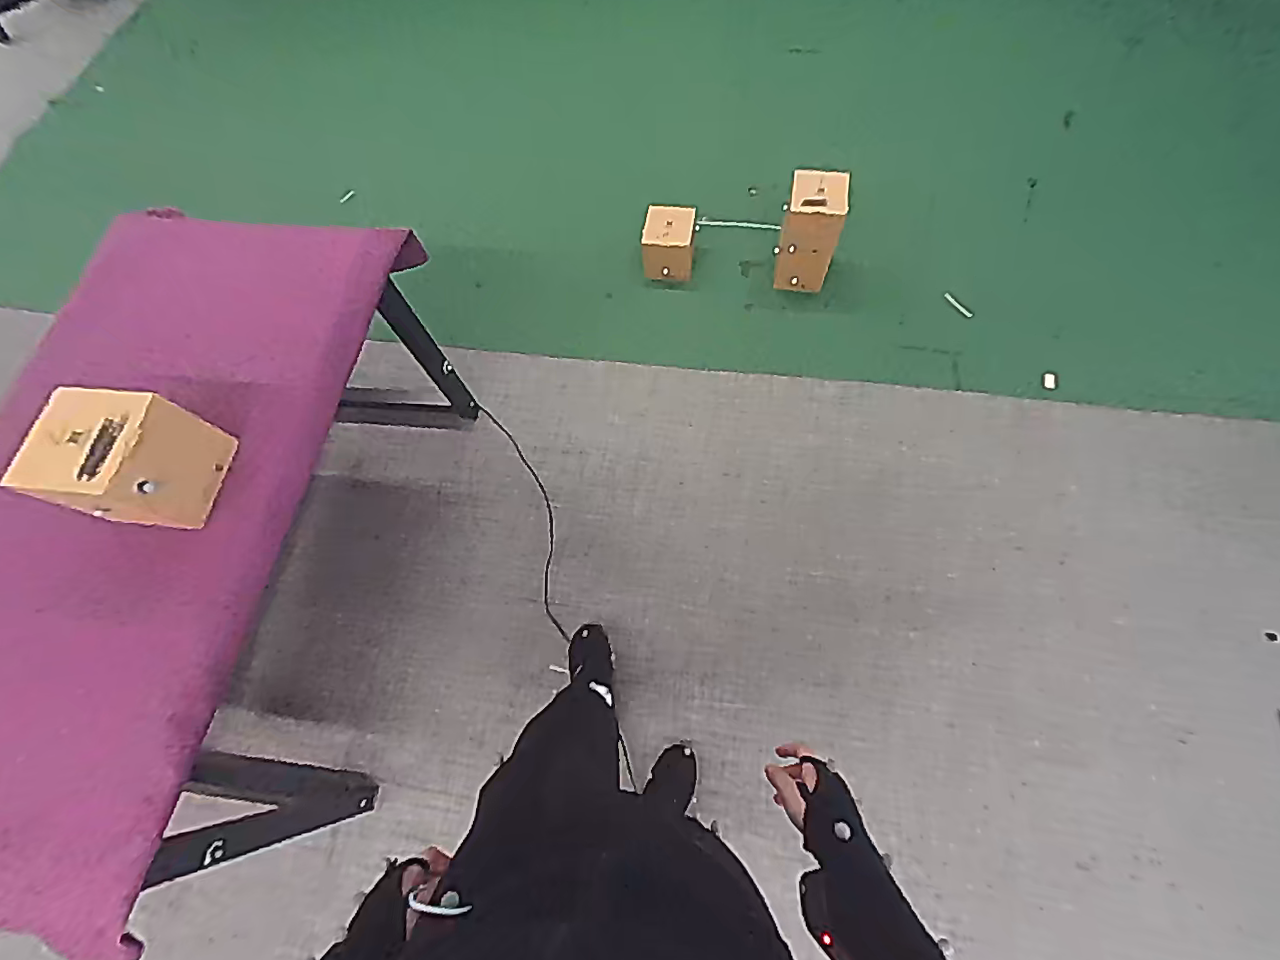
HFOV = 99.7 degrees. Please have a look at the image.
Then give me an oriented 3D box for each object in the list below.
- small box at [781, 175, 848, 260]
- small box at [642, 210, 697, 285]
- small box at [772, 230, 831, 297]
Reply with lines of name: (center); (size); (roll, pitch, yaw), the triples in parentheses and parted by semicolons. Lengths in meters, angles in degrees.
small box: (0.545, -0.823, 1.705); (0.168, 0.176, 0.179); (9, 68, 7)
small box: (0.105, -0.820, 1.912); (0.168, 0.176, 0.179); (7, 68, 8)
small box: (0.555, -0.761, 1.857); (0.168, 0.176, 0.179); (8, 69, 7)
